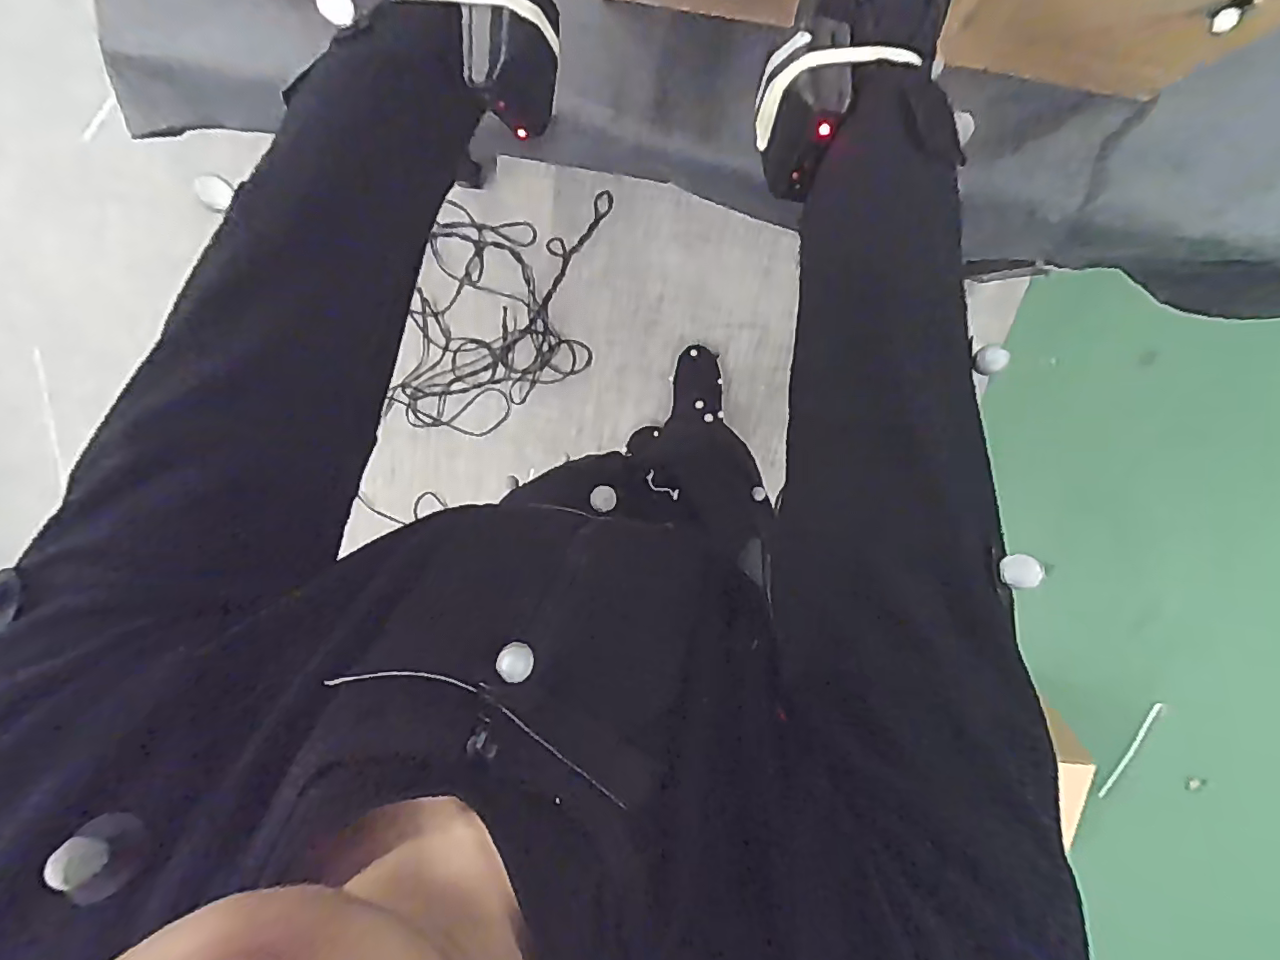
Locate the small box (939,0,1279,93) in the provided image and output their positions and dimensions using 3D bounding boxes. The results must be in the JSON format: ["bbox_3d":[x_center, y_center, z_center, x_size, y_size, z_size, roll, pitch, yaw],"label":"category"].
[{"bbox_3d":[0.327,-0.381,0.343,0.179,0.176,0.168,15,109,5],"label":"small box"}]
